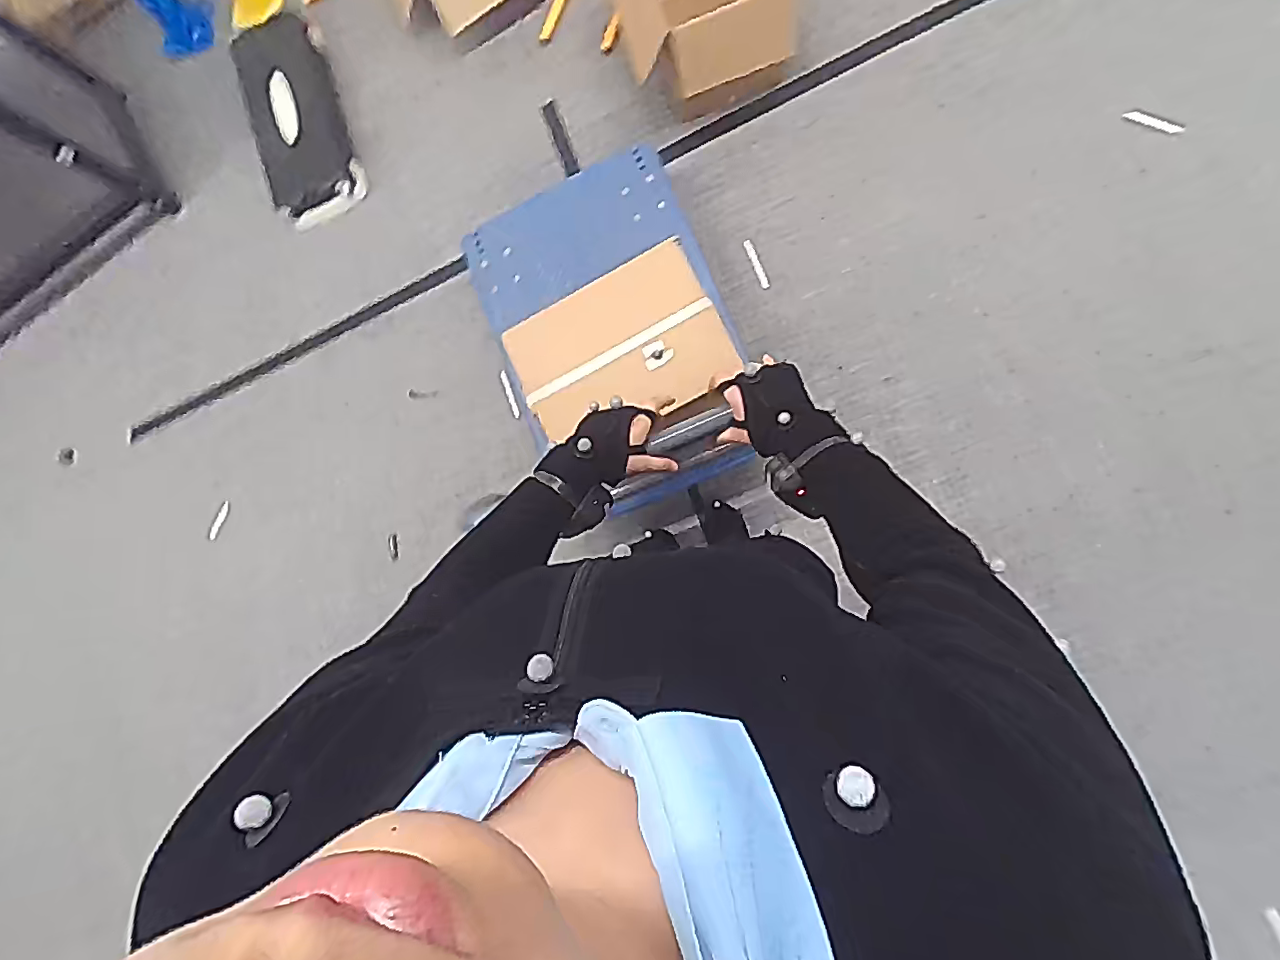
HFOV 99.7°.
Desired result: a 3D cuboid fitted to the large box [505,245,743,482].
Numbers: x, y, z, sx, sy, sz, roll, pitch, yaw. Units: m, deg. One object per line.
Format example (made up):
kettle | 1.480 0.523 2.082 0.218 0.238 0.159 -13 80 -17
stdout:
large box | -0.019 -0.230 1.220 0.408 0.320 0.320 -28 82 6
